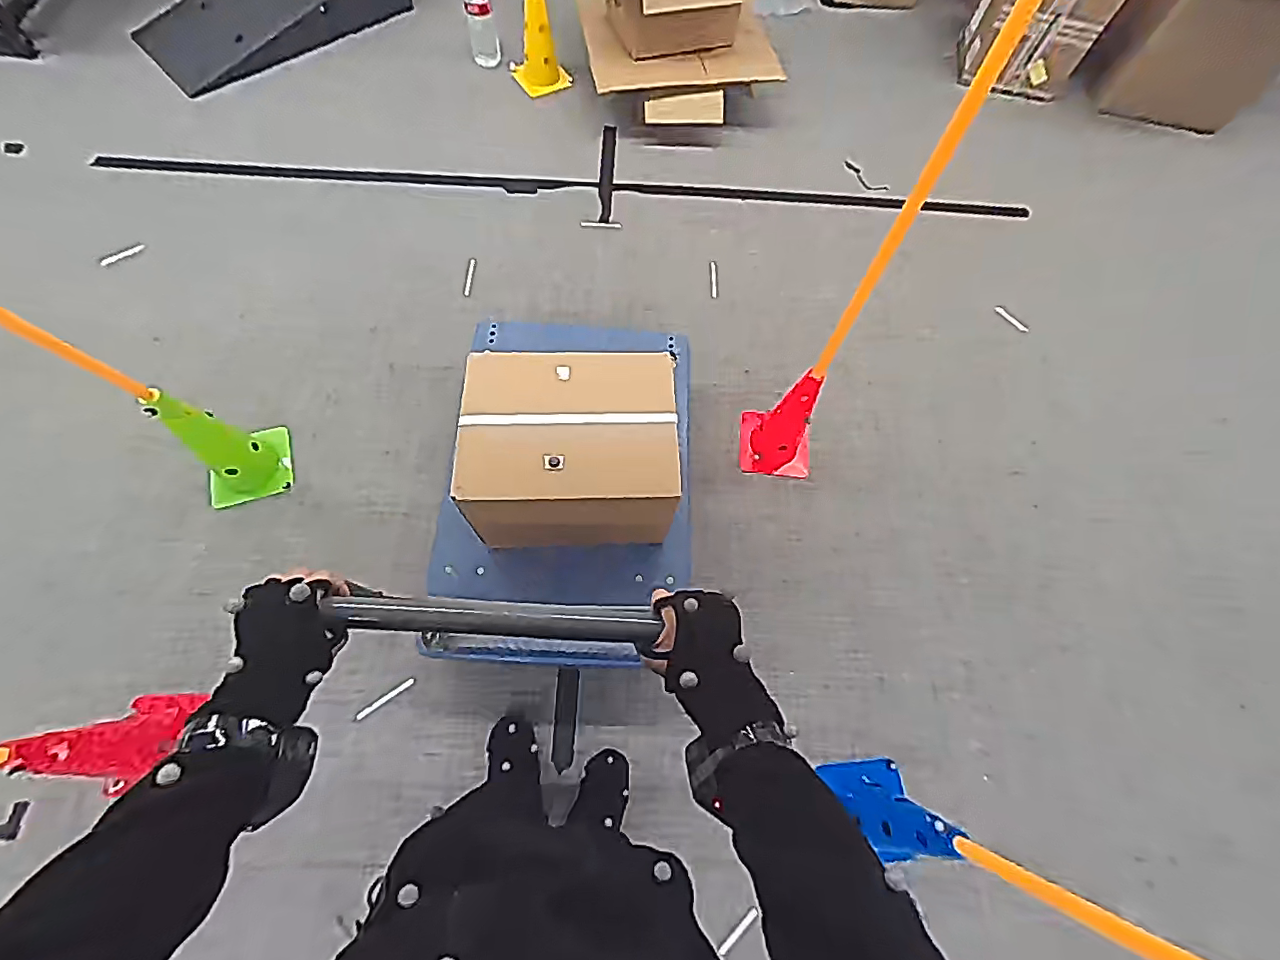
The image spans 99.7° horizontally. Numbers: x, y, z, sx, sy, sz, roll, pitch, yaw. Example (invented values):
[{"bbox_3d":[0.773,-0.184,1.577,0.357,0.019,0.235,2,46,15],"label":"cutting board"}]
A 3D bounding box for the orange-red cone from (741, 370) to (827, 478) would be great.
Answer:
[{"bbox_3d":[0.407,-0.172,1.410,0.199,0.360,0.198,8,67,-1],"label":"orange-red cone"}]

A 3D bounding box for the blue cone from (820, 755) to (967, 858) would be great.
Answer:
[{"bbox_3d":[0.522,0.664,1.068,0.193,0.380,0.192,-2,65,-5],"label":"blue cone"}]
